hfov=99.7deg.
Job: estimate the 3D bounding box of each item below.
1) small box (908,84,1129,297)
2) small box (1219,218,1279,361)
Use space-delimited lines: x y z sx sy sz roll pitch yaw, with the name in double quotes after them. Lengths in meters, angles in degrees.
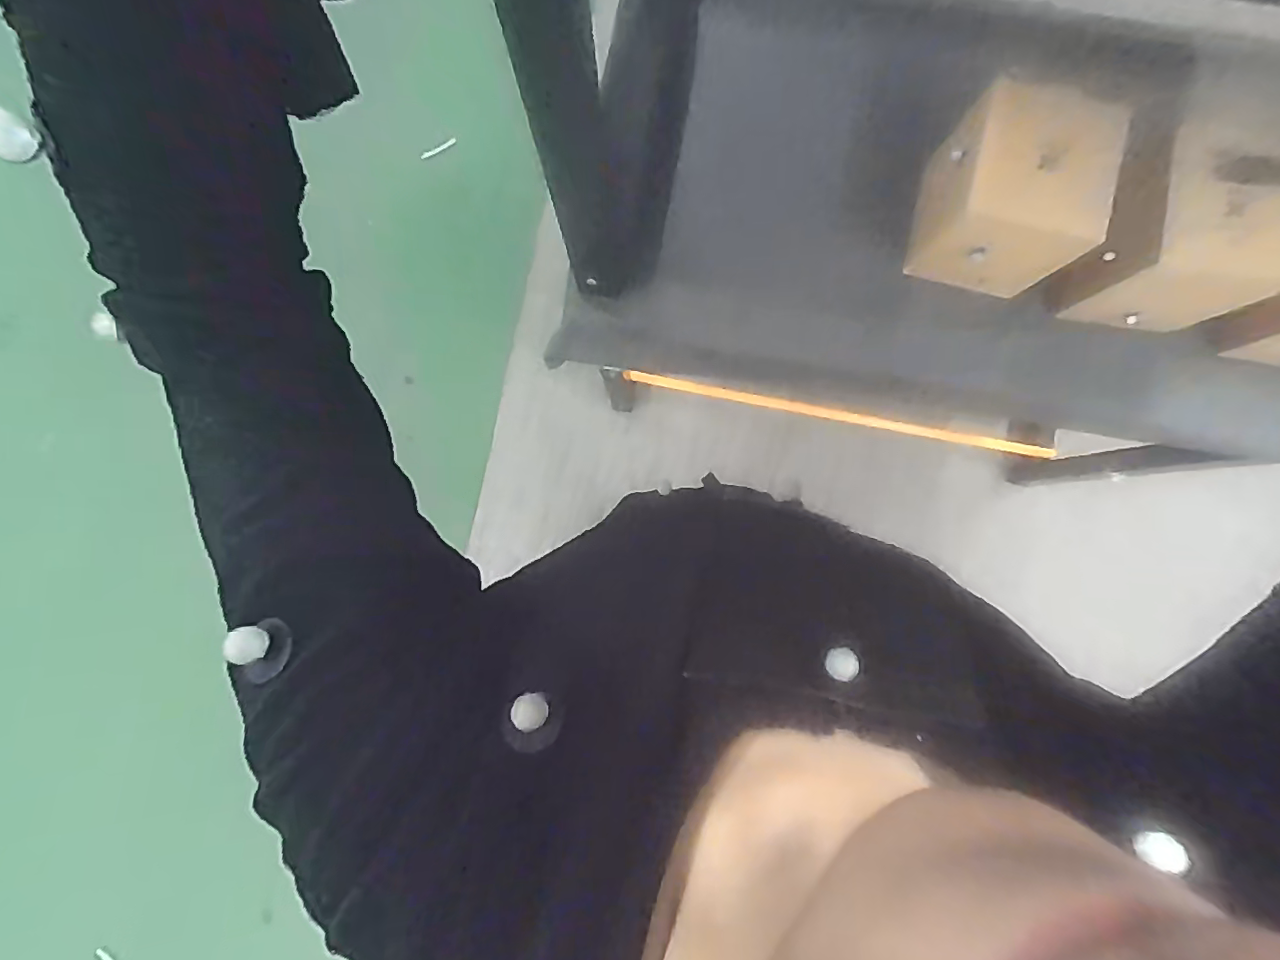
0.487 -0.370 0.724 0.168 0.176 0.179 14 85 2 "small box"
0.920 -0.256 0.702 0.168 0.176 0.179 9 85 1 "small box"
